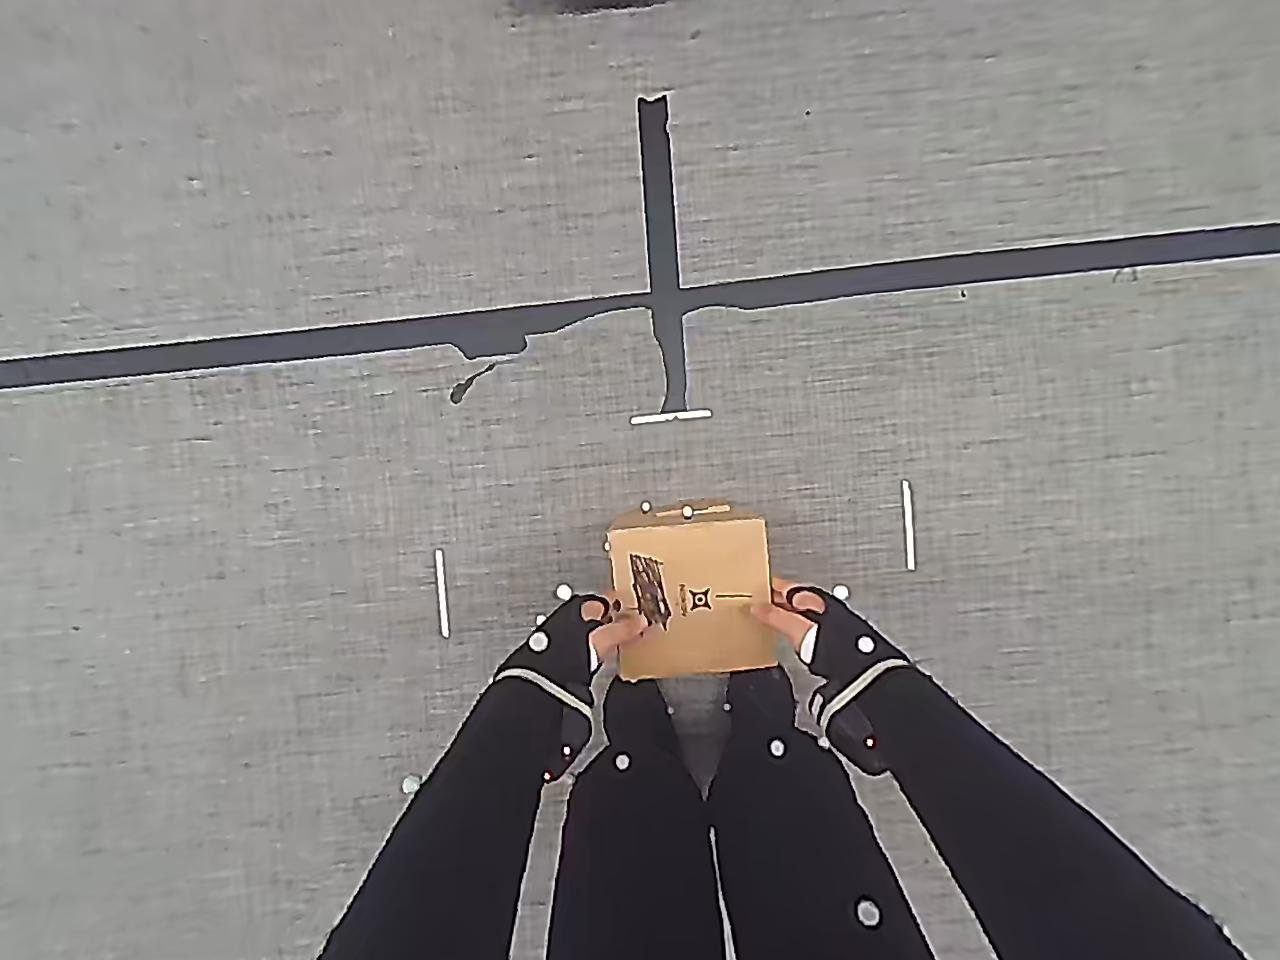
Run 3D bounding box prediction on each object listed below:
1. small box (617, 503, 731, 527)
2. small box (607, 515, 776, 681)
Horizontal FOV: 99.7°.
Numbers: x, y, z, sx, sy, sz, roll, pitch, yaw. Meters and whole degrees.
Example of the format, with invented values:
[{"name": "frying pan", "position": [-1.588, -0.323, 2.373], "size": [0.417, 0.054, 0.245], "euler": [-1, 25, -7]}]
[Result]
[{"name": "small box", "position": [0.059, 0.133, 0.834], "size": [0.168, 0.176, 0.179], "euler": [-10, 92, 2]}, {"name": "small box", "position": [0.057, 0.133, 0.664], "size": [0.179, 0.176, 0.168], "euler": [-4, 90, 0]}]
